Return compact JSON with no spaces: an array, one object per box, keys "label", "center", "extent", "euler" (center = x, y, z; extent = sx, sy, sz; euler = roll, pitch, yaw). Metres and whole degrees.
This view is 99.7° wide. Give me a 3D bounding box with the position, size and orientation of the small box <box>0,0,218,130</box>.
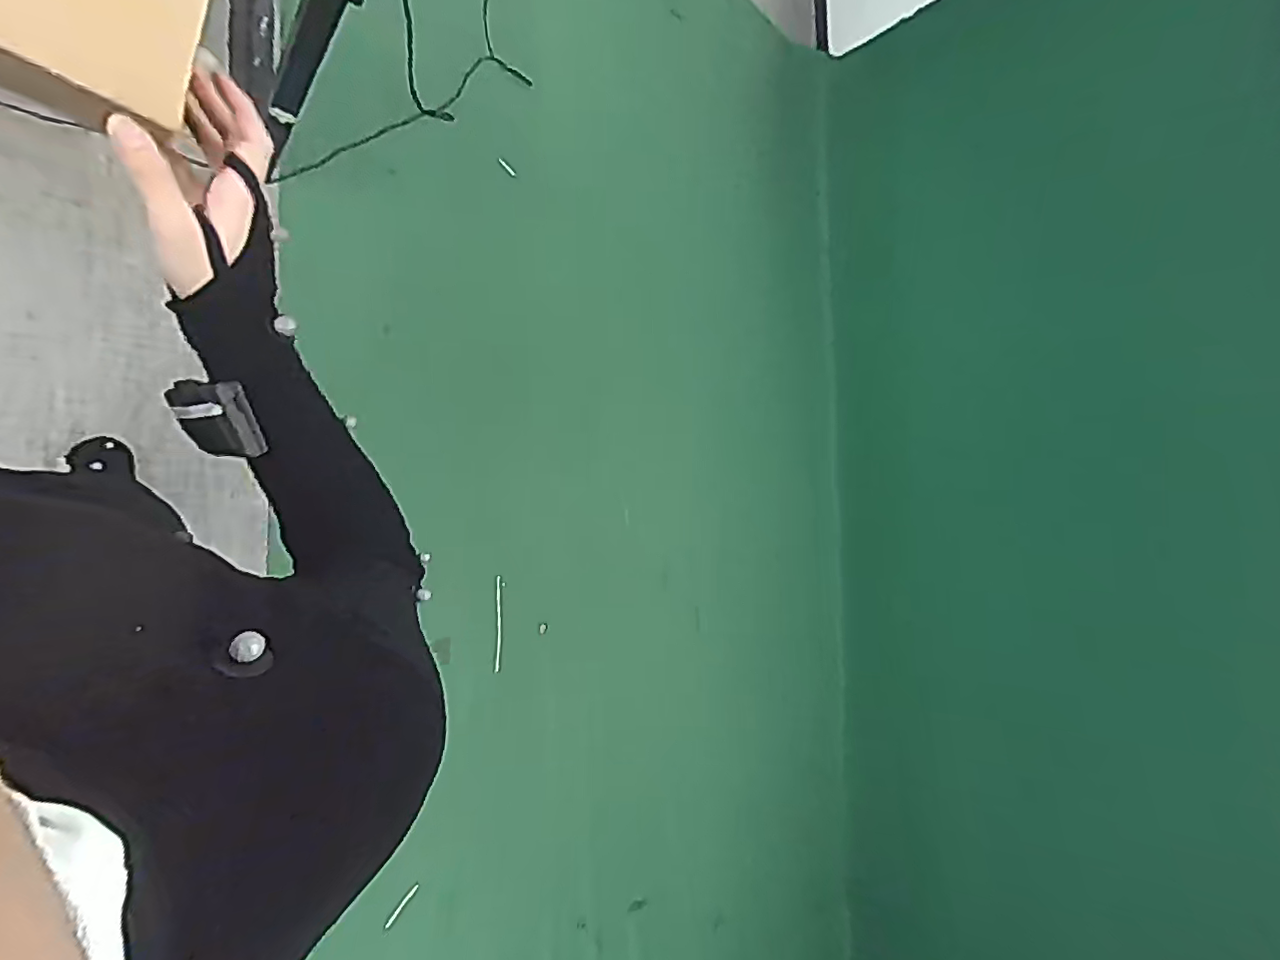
[{"label":"small box","center":[-0.362,-0.338,0.315],"extent":[0.179,0.176,0.168],"euler":[14,99,-48]}]
